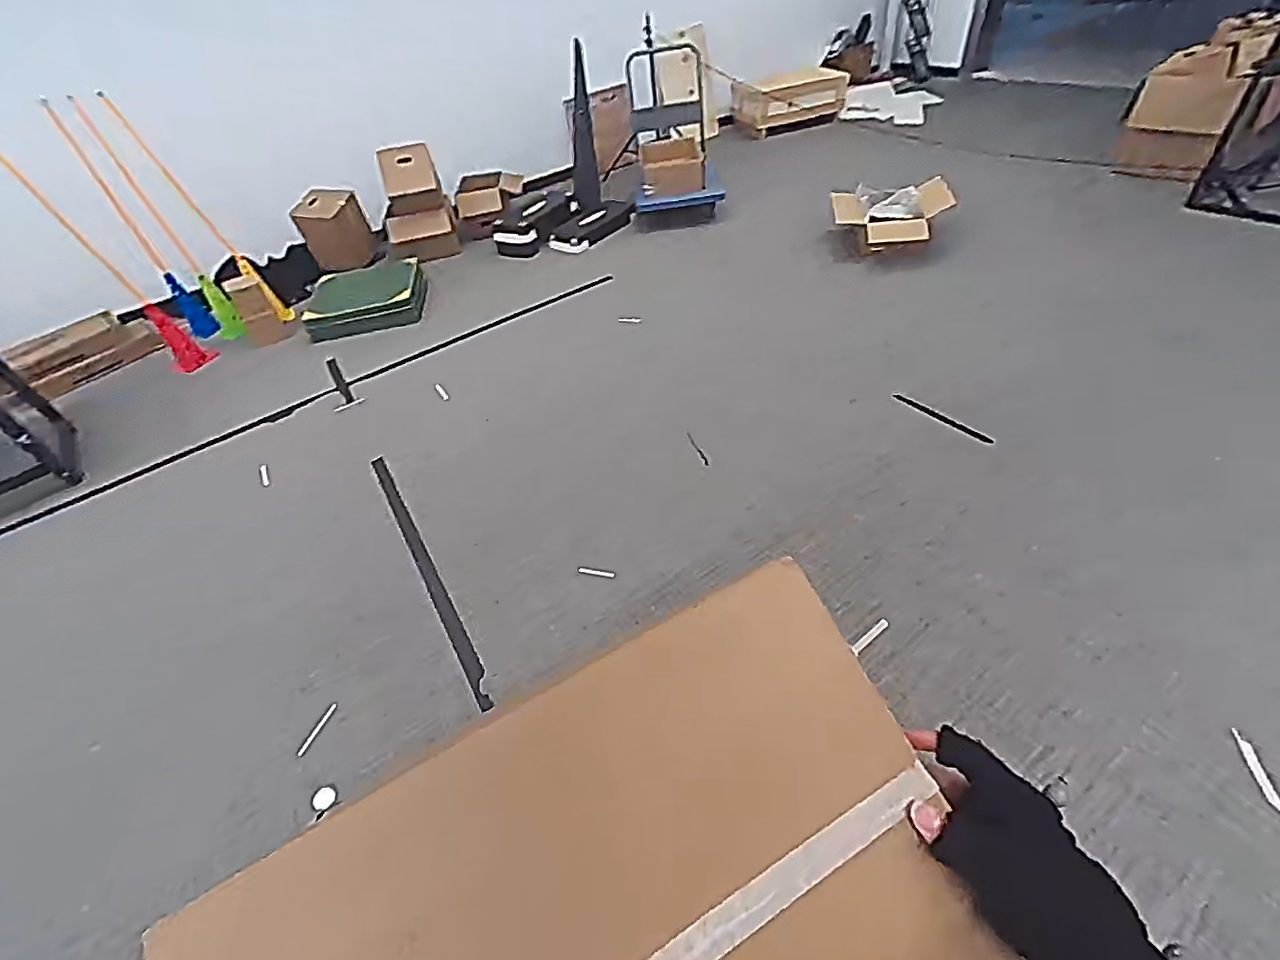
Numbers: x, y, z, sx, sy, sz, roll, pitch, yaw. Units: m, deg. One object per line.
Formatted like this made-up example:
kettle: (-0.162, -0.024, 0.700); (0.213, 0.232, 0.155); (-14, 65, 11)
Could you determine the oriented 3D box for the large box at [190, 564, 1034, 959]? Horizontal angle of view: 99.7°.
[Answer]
large box: (-0.012, 0.319, 0.440); (0.408, 0.320, 0.320); (-27, 78, -13)
